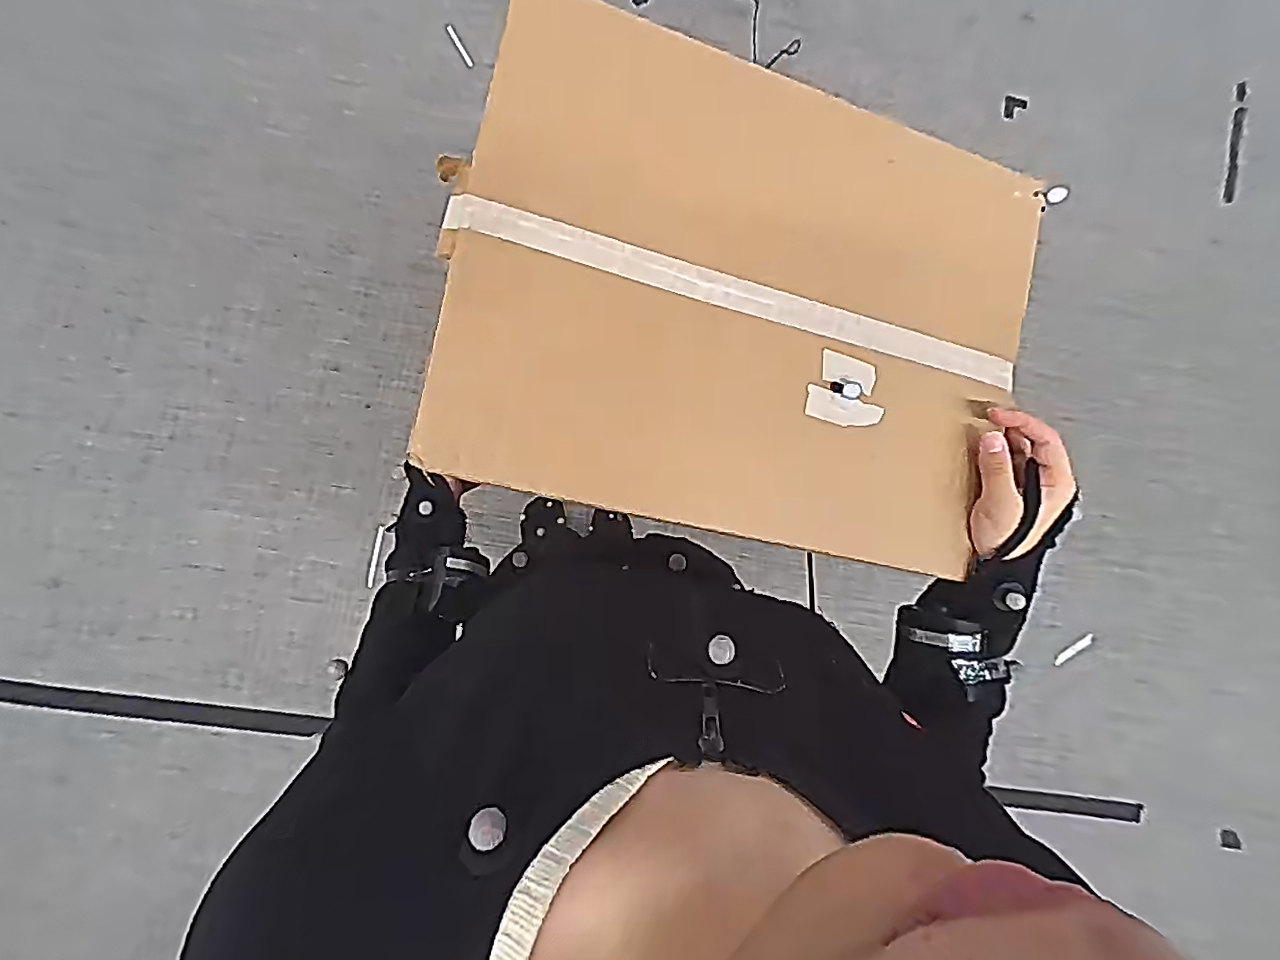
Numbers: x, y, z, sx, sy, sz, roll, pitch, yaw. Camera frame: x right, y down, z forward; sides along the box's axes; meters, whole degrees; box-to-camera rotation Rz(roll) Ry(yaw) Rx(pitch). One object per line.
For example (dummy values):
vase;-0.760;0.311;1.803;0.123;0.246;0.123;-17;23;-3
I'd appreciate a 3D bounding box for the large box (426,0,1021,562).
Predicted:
large box;0.049;-0.123;0.519;0.408;0.320;0.320;12;88;-14
